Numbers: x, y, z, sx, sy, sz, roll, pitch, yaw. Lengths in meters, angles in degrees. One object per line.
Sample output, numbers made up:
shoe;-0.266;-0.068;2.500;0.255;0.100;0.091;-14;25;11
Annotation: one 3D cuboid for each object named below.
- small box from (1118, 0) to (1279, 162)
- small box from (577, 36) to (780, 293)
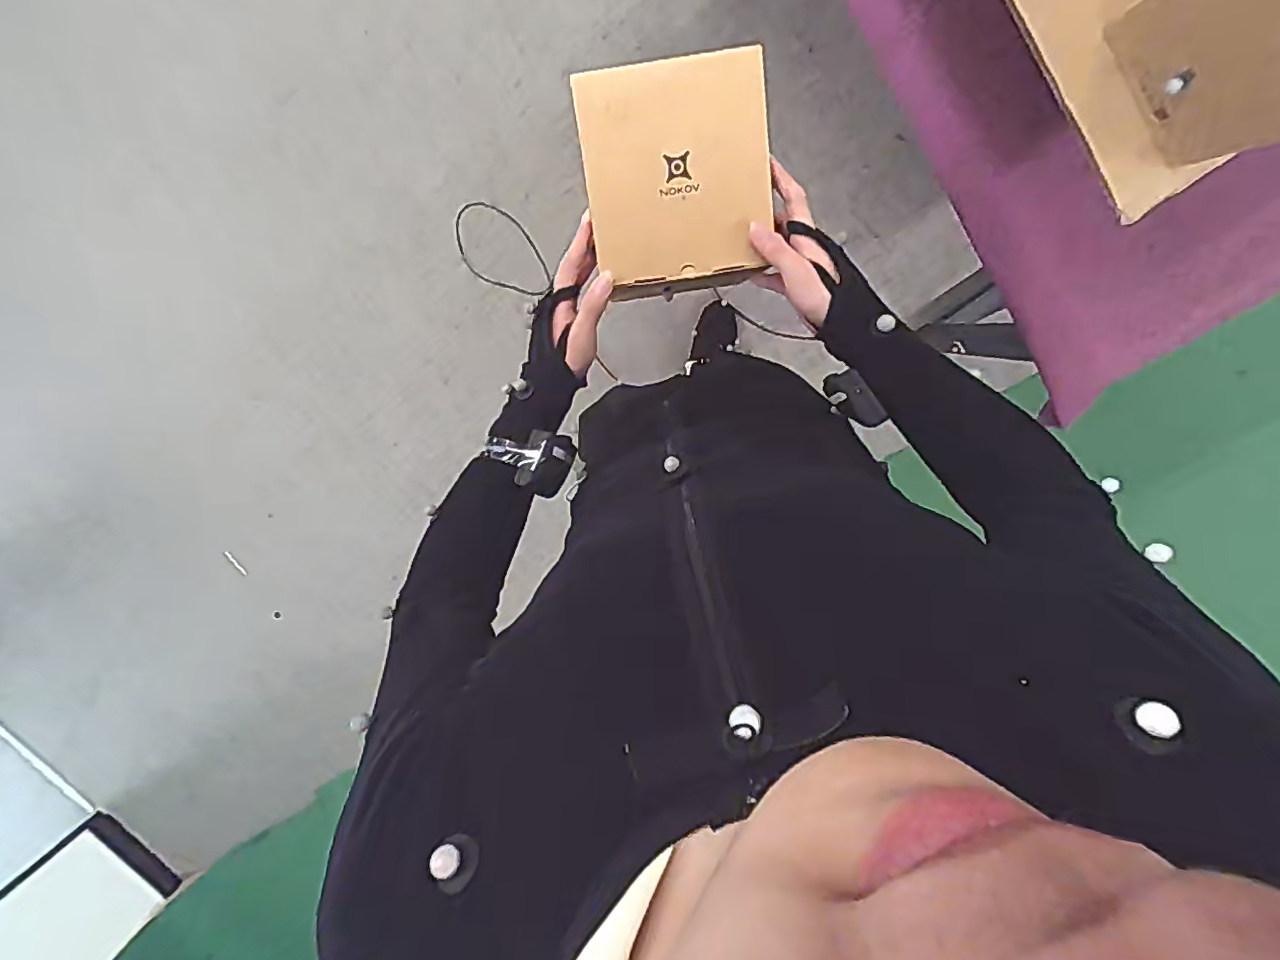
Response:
small box;0.573;-0.409;0.450;0.179;0.176;0.168;-36;102;15
small box;0.034;-0.295;0.545;0.168;0.176;0.179;-8;106;1
